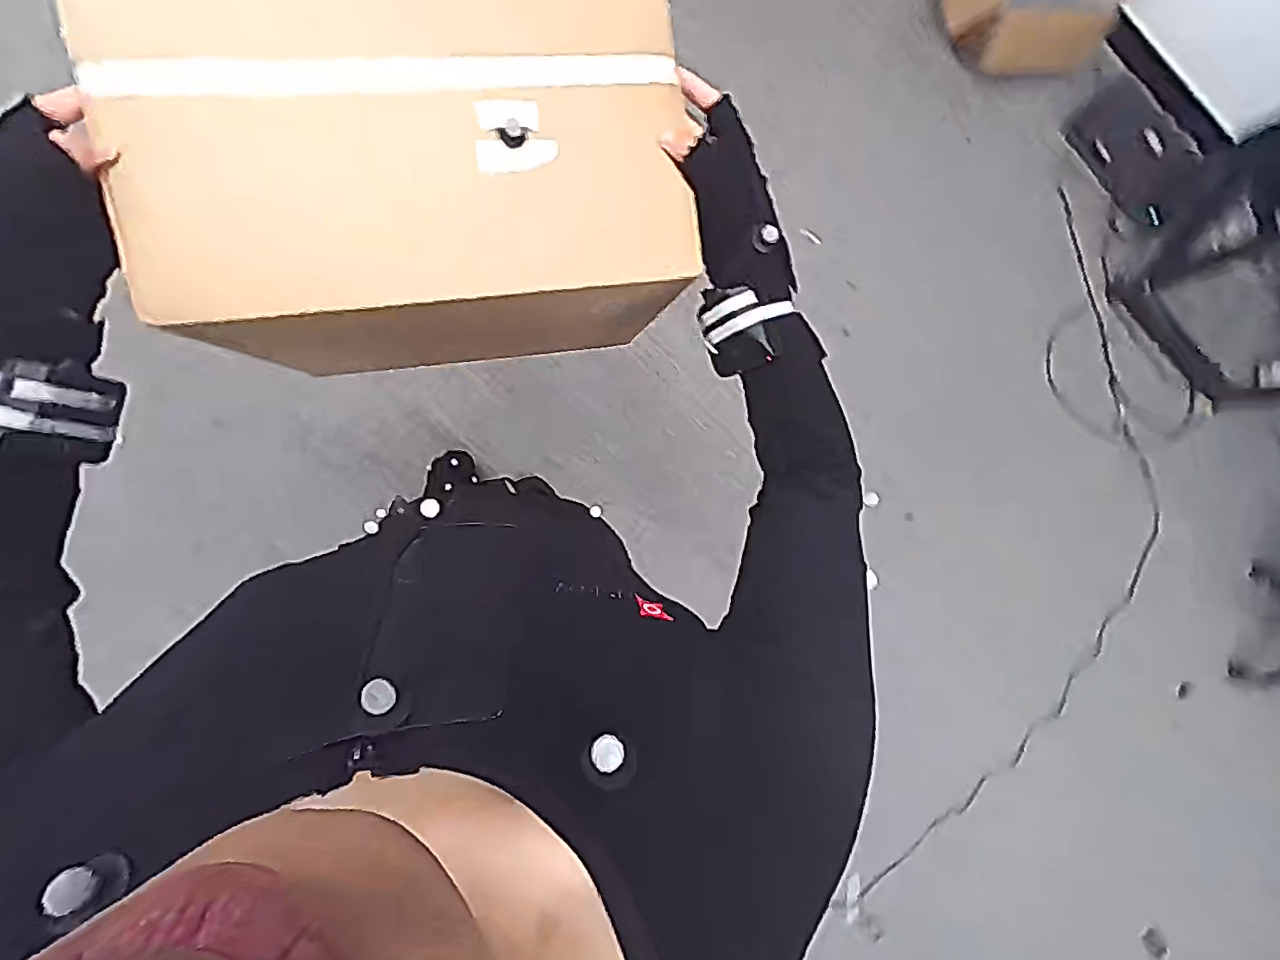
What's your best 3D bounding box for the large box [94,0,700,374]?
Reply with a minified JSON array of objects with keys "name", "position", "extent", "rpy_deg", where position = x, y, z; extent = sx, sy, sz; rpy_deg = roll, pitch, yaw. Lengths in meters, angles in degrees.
[{"name":"large box","position":[-0.196,-0.307,0.548],"extent":[0.408,0.320,0.320],"rpy_deg":[-11,97,-12]}]
